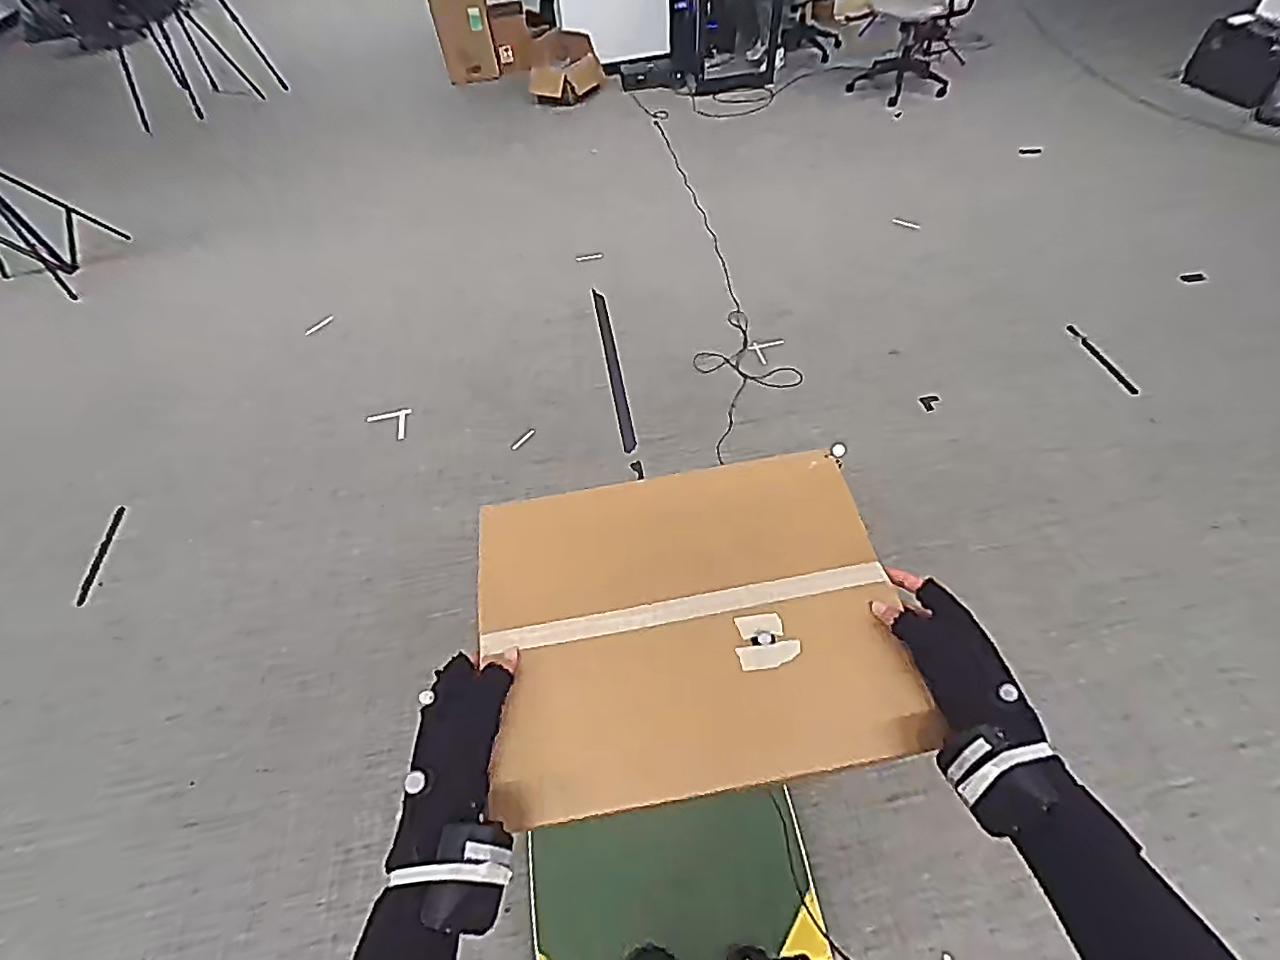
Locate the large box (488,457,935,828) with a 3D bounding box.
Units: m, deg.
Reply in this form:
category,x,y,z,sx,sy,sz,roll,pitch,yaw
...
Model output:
category,x,y,z,sx,sy,sz,roll,pitch,yaw
large box,0.053,0.214,0.677,0.408,0.320,0.320,-10,58,-3
